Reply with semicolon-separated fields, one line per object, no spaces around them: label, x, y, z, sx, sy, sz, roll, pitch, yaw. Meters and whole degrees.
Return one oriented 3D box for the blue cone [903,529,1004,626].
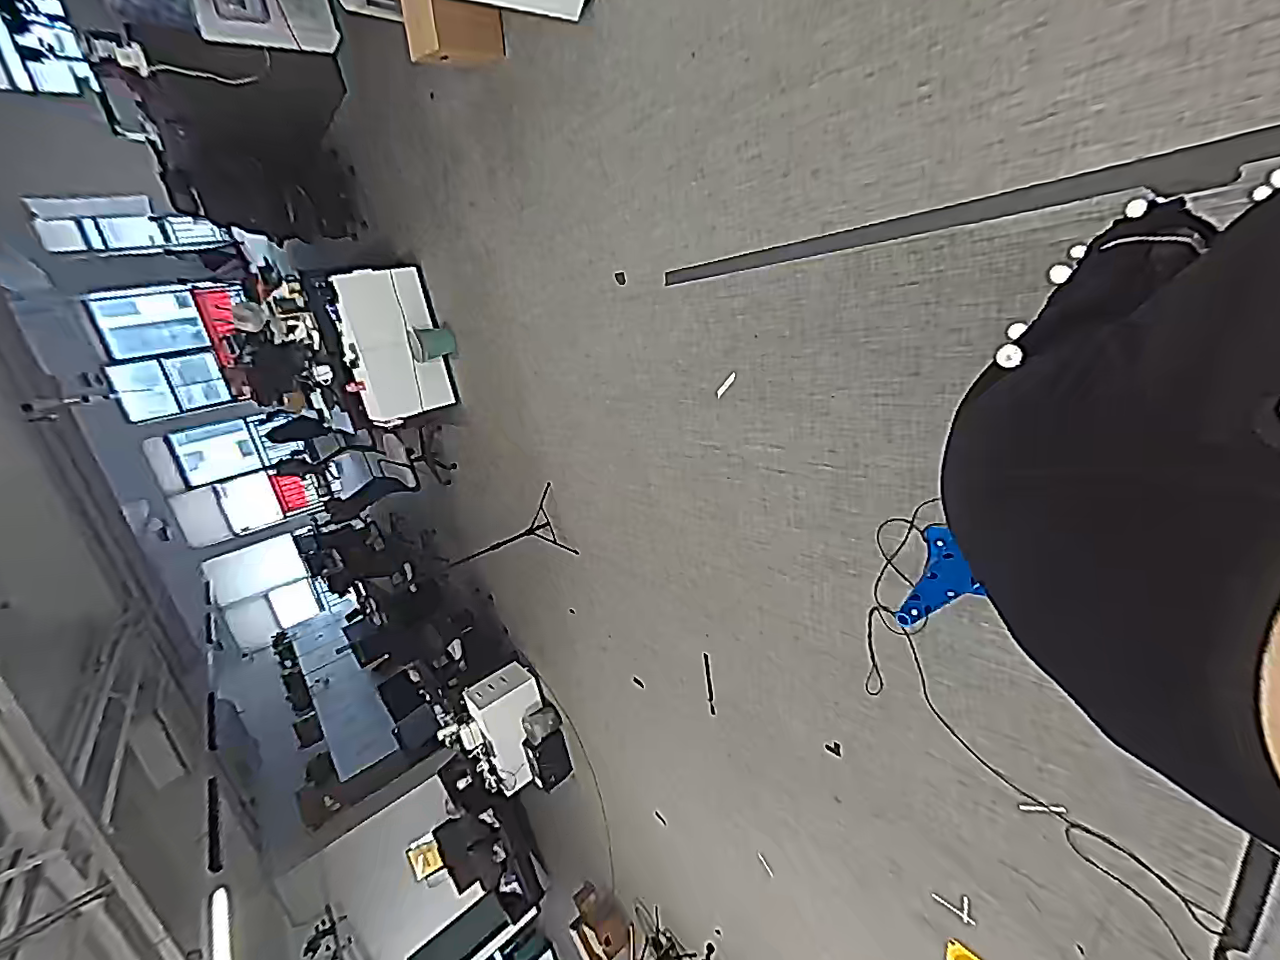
blue cone;0.803;0.286;1.450;0.192;0.380;0.193;6;114;52
